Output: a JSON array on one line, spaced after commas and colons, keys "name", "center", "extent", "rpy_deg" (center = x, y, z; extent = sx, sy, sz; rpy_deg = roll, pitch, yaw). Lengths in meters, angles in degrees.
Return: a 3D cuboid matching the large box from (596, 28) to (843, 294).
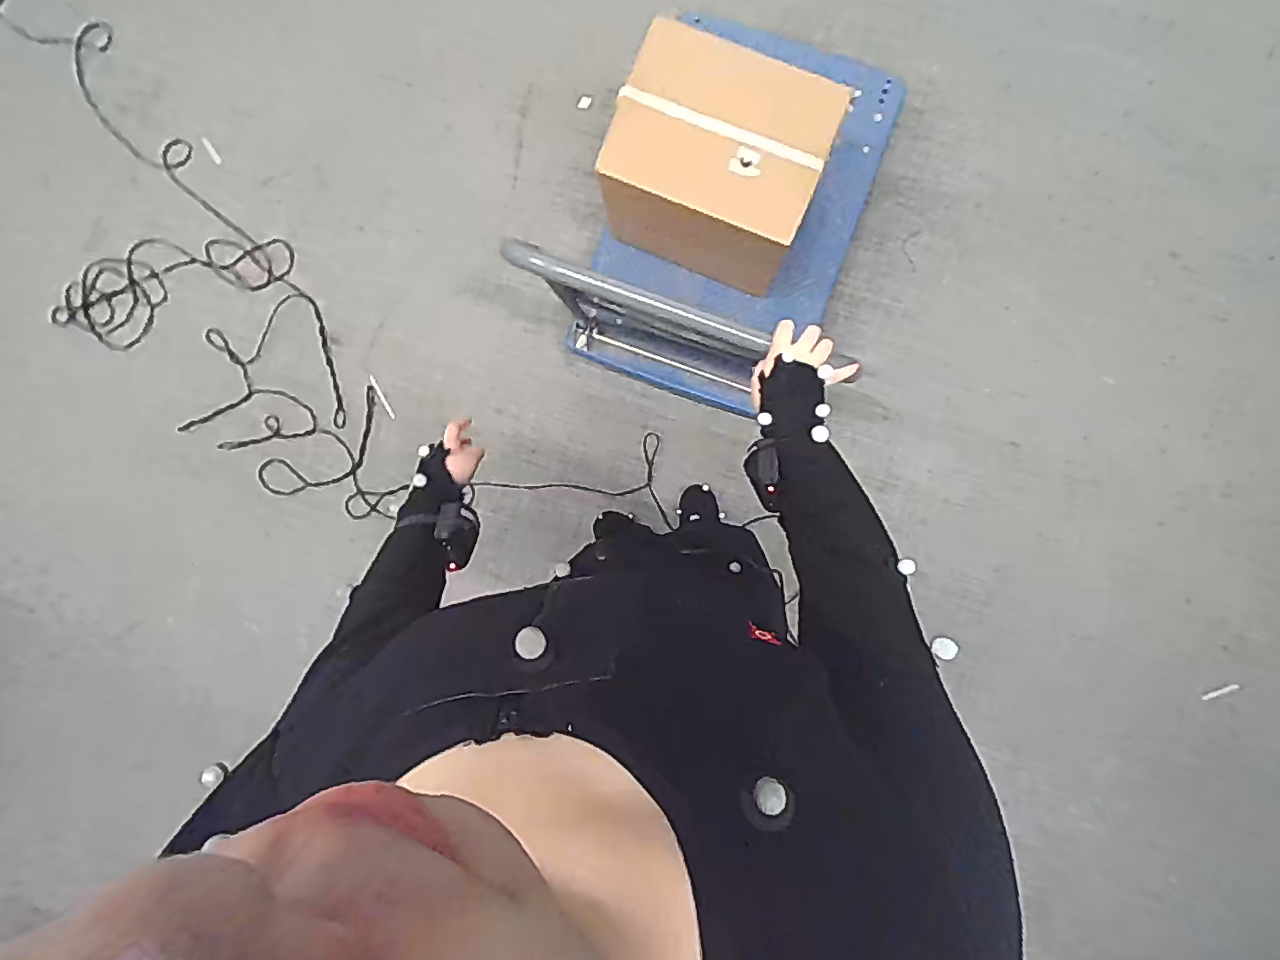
[{"name": "large box", "center": [0.153, -0.665, 1.187], "extent": [0.408, 0.320, 0.320], "rpy_deg": [22, 92, 2]}]
